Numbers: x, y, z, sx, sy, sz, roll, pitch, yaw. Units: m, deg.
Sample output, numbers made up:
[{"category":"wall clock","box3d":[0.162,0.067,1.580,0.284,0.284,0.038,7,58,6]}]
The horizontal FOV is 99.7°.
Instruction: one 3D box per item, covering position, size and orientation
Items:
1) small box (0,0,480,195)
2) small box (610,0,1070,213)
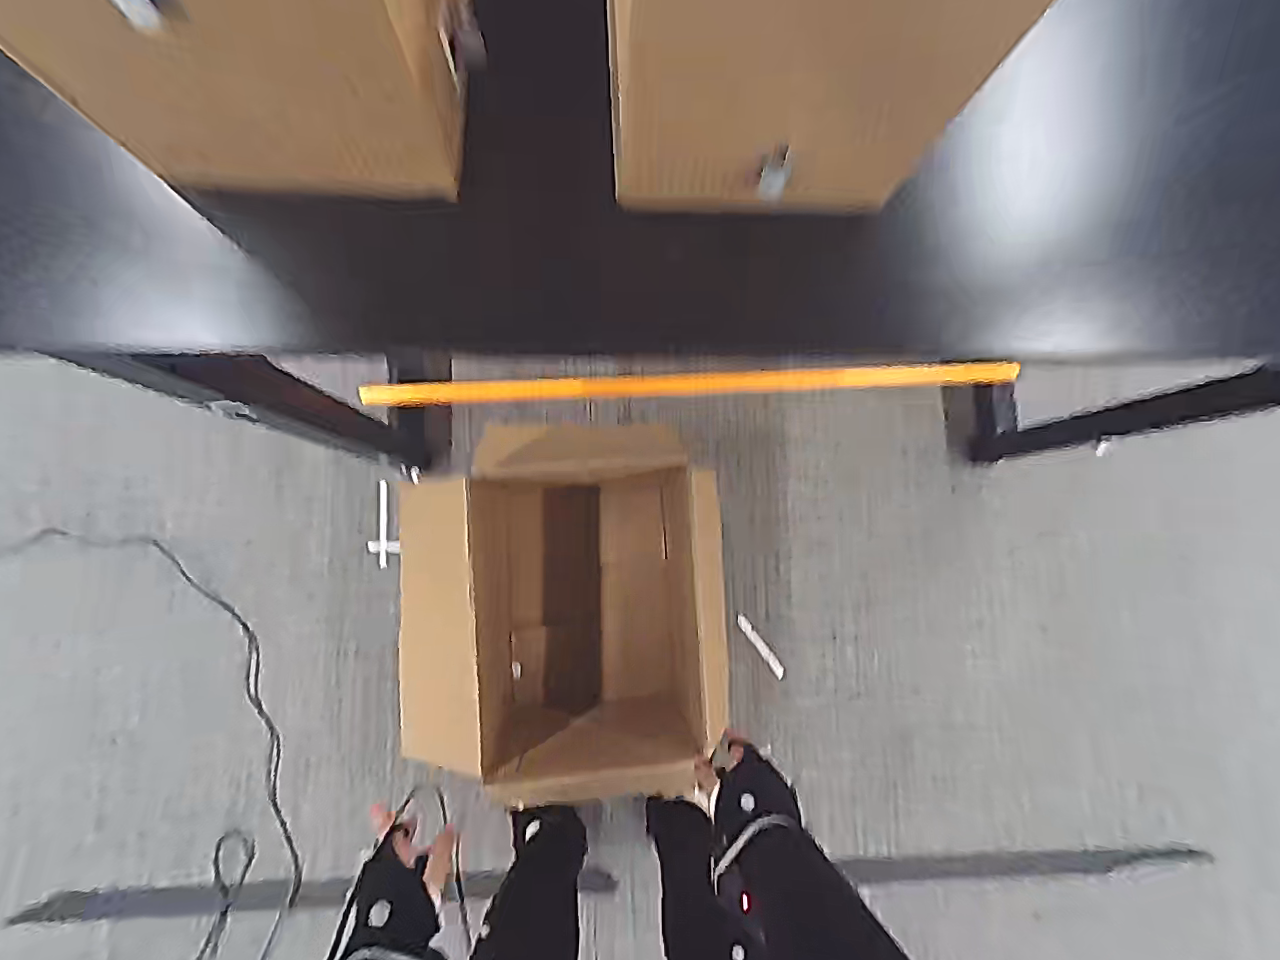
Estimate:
[{"category":"small box","box3d":[-0.184,-0.264,0.259,0.179,0.176,0.168,0,84,-6]},{"category":"small box","box3d":[0.078,-0.263,0.281,0.179,0.176,0.168,-2,83,-6]}]
